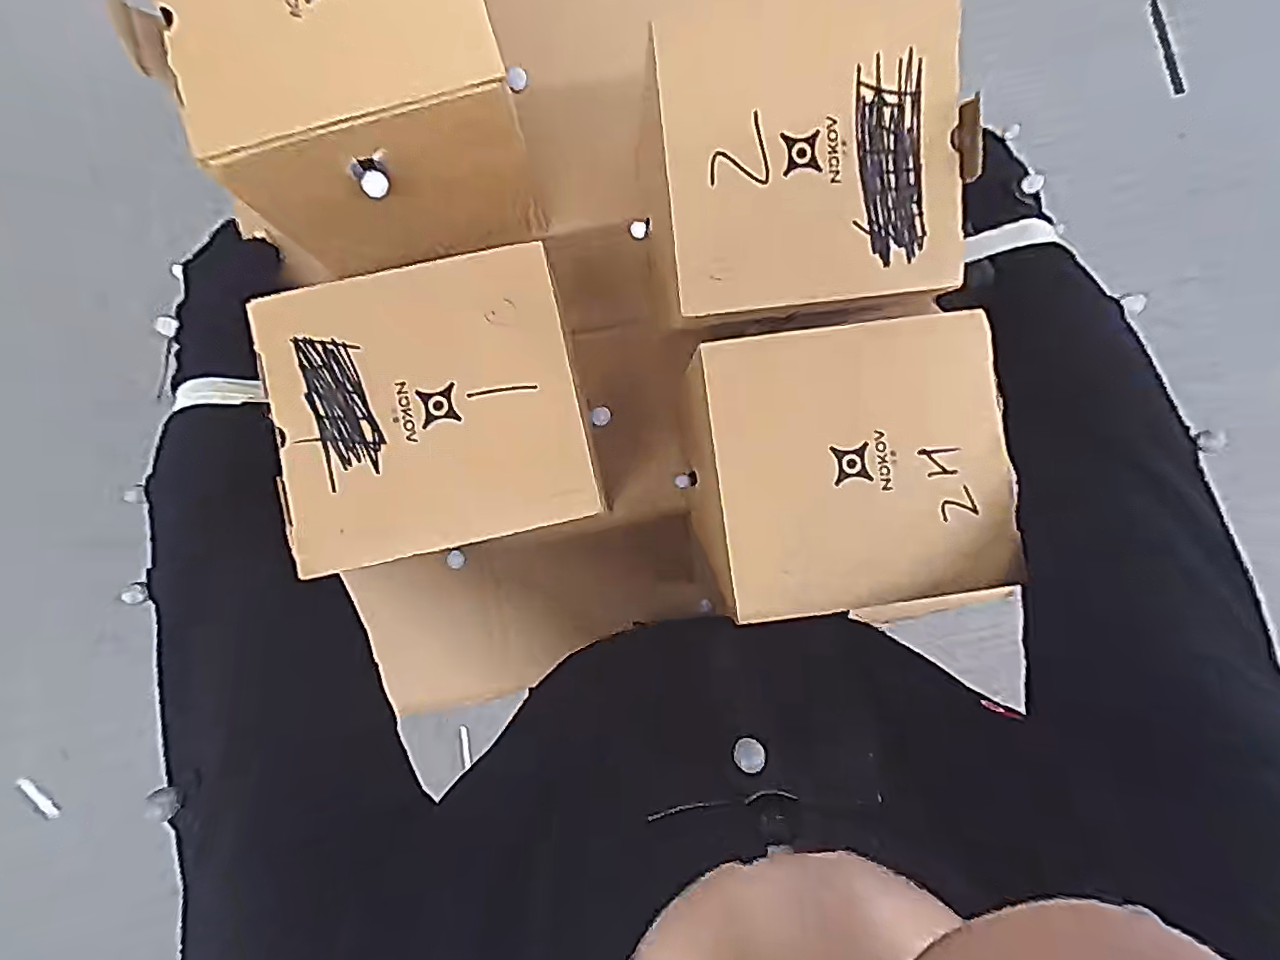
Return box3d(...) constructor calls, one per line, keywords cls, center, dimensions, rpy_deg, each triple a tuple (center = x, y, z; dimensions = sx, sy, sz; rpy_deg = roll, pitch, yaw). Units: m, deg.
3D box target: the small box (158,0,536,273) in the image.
box3d(cls="small box", center=(-0.181, -0.274, 0.380), dimensions=(0.179, 0.176, 0.168), rpy_deg=(-17, 87, -2))
